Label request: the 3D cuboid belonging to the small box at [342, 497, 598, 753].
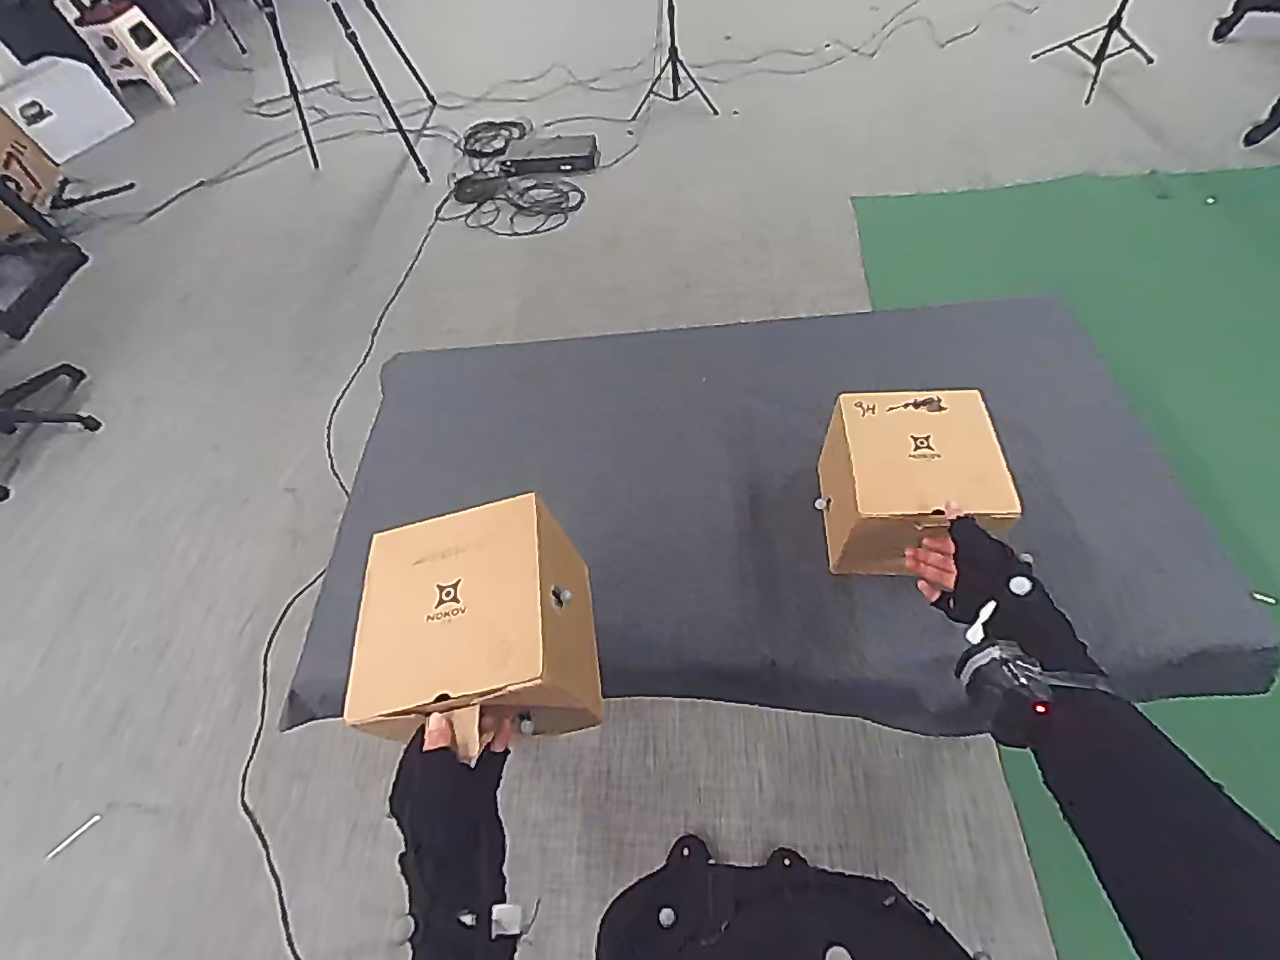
[{"bbox_3d":[-0.144,0.147,0.517,0.168,0.176,0.179,-14,52,4],"label":"small box"}]
